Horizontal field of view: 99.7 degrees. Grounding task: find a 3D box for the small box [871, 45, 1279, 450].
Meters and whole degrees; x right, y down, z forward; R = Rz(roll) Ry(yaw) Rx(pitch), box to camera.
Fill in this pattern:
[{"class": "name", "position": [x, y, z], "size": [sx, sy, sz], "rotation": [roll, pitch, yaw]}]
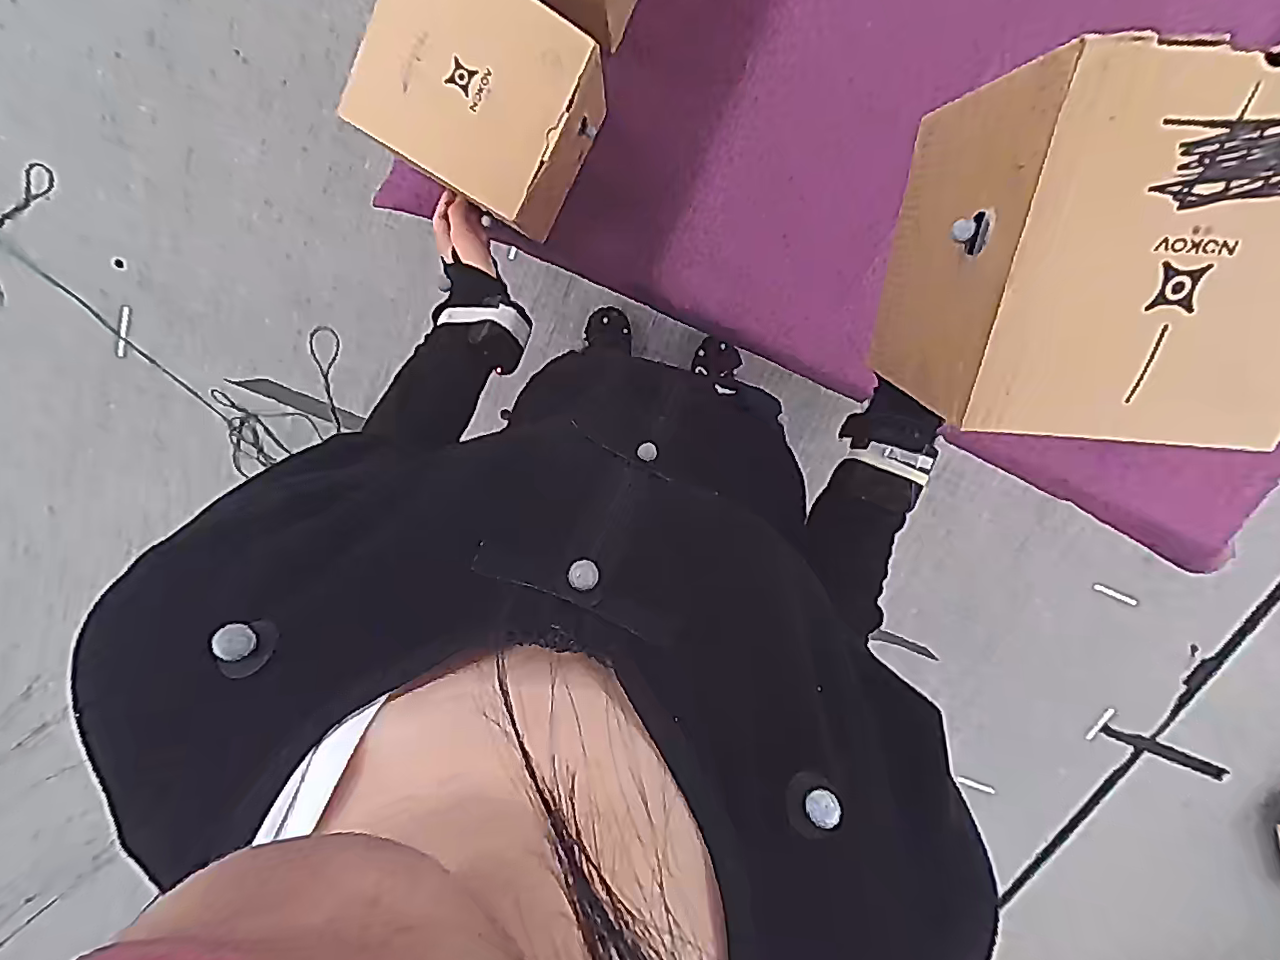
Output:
[{"class": "small box", "position": [0.267, -0.134, 0.339], "size": [0.168, 0.176, 0.179], "rotation": [5, 114, 2]}]
